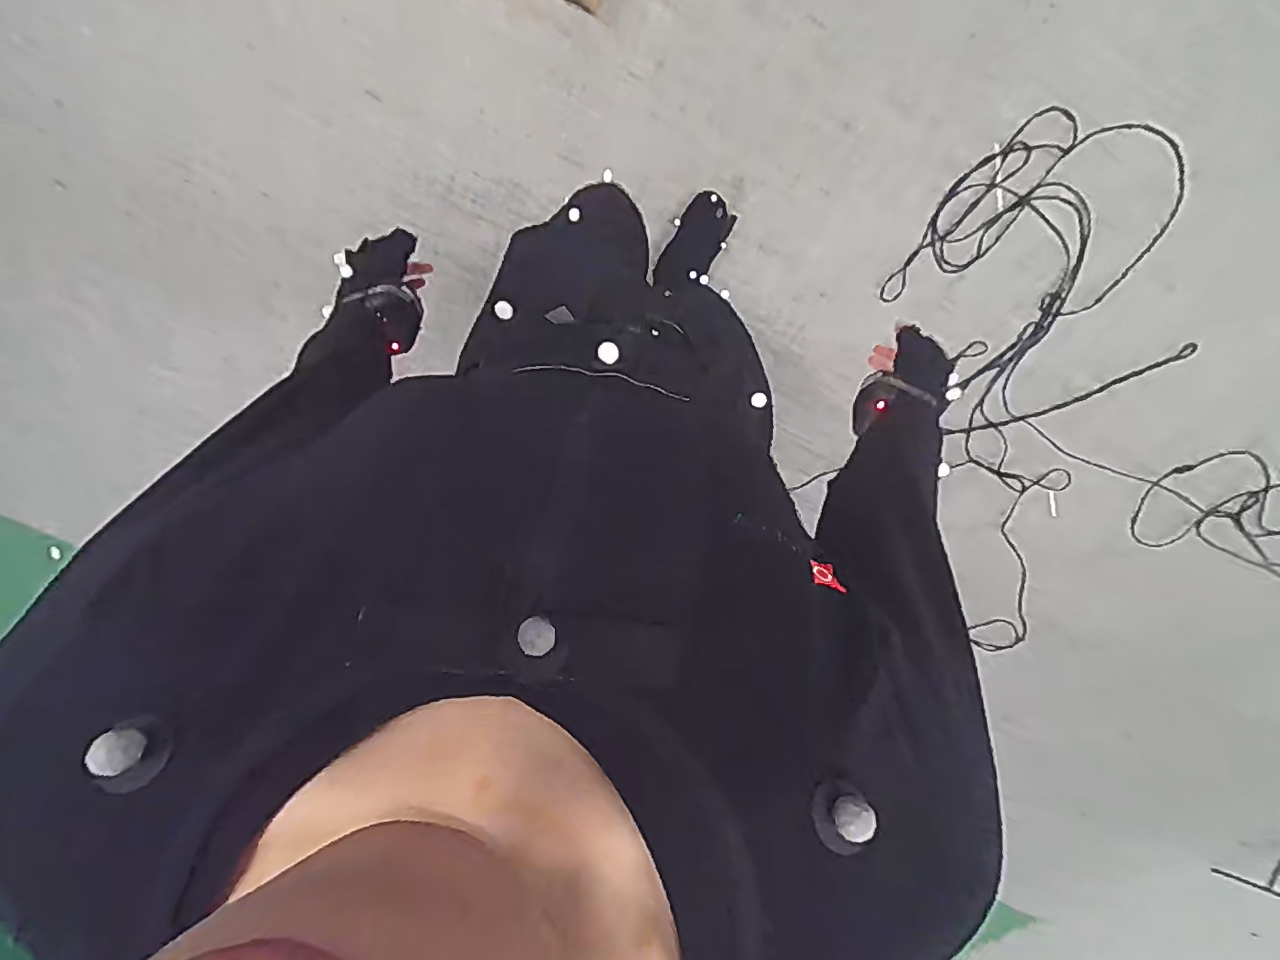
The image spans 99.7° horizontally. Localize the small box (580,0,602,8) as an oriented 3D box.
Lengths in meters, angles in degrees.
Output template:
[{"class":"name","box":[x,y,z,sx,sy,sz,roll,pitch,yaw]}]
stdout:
[{"class":"small box","box":[-0.115,-0.989,0.949,0.168,0.176,0.179,31,117,-12]}]
